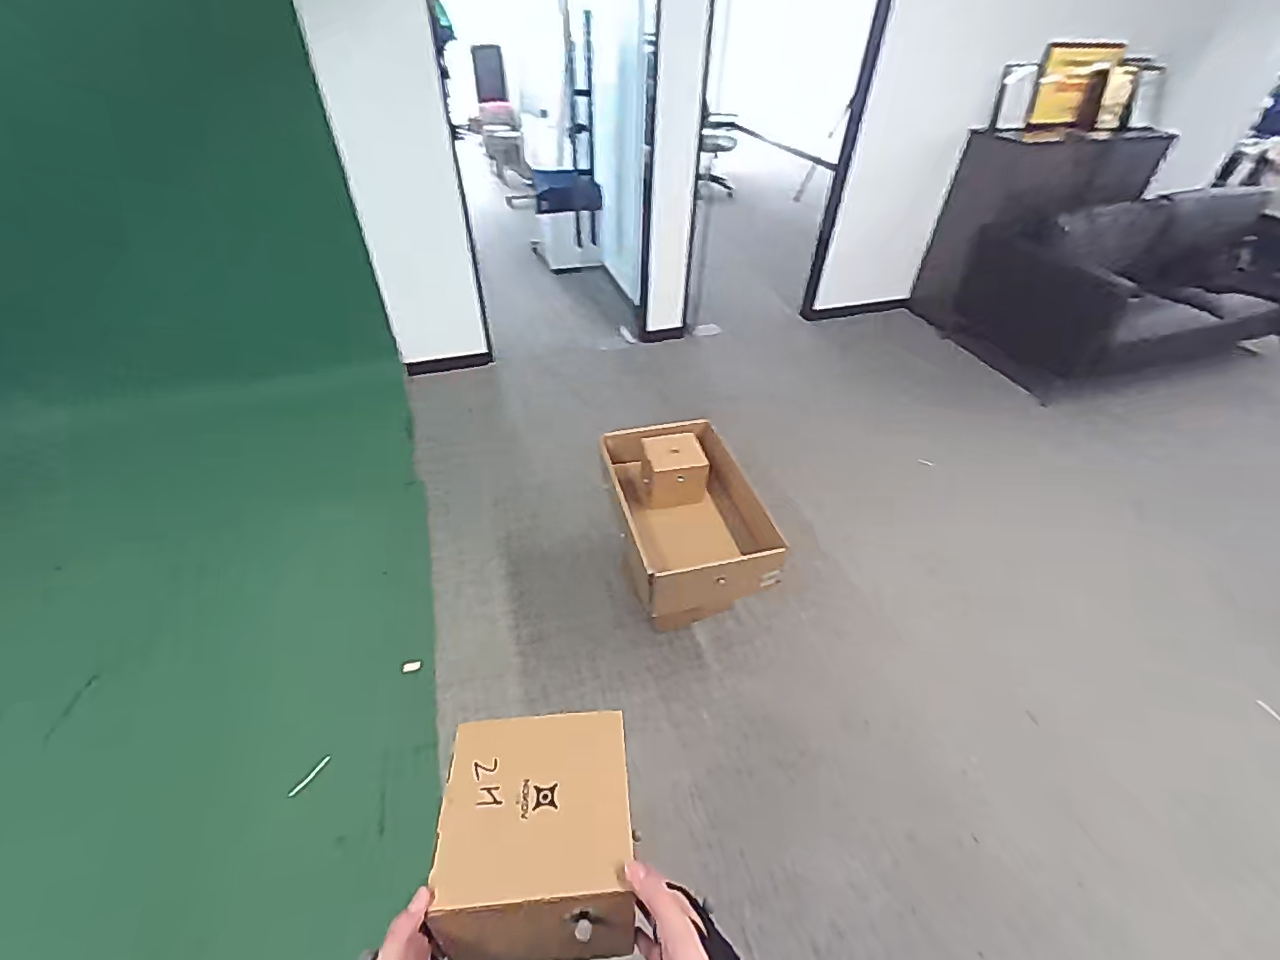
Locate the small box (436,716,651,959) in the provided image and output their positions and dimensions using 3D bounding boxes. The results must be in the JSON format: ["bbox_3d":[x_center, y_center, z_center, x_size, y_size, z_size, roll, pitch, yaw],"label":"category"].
[{"bbox_3d":[-0.087,0.365,0.549,0.179,0.176,0.168,-2,34,-5],"label":"small box"}]

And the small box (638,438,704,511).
[{"bbox_3d":[0.093,-0.016,1.744,0.179,0.176,0.168,-6,43,-13],"label":"small box"}]
